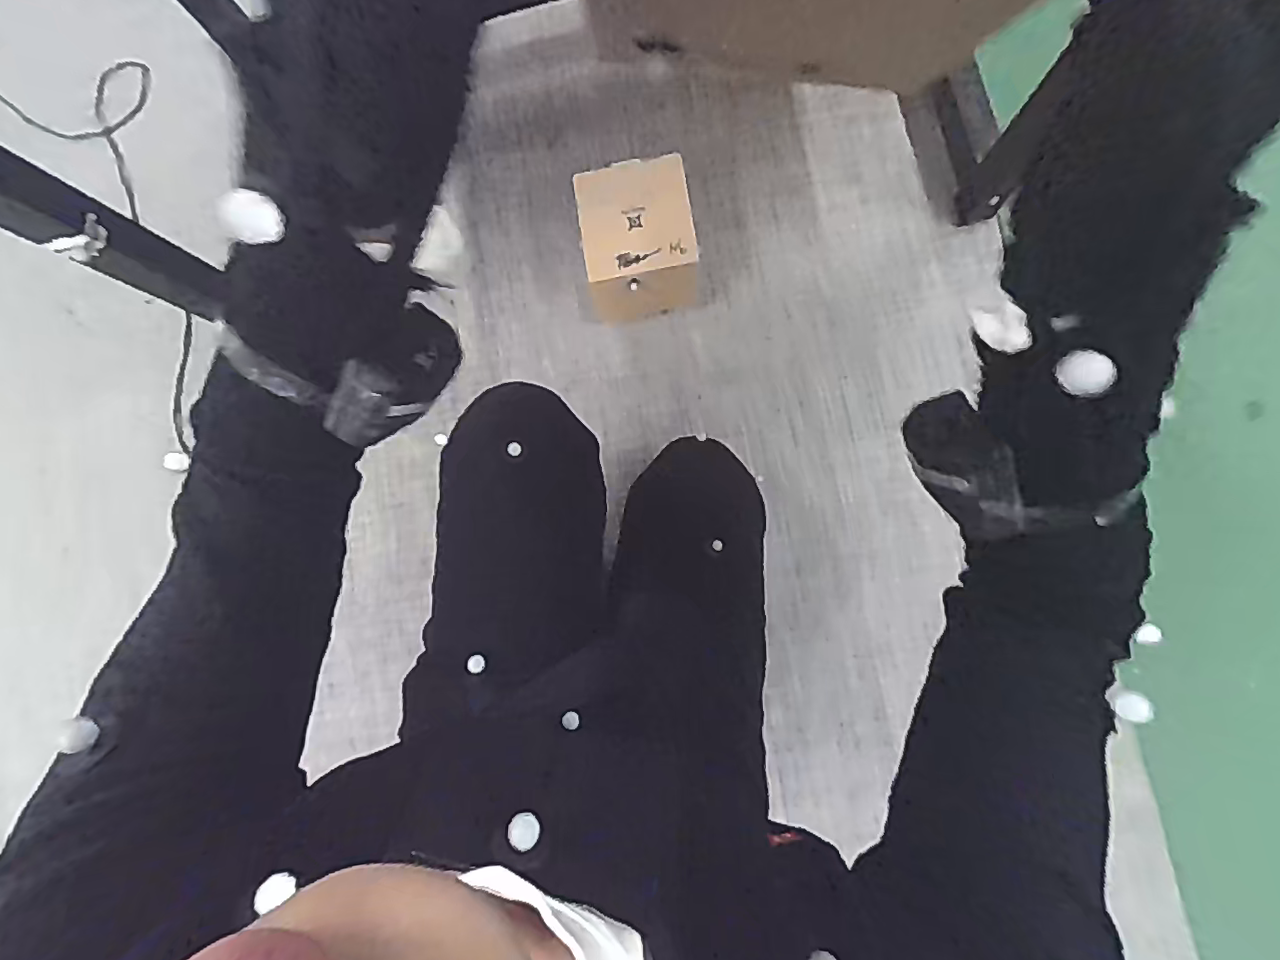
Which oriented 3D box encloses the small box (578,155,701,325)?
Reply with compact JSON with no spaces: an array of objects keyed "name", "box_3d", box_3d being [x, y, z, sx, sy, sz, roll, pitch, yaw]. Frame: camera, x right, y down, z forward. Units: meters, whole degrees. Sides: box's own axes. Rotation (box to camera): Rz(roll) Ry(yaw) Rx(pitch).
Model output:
[{"name":"small box","box_3d":[0.004,-0.376,0.873,0.168,0.176,0.179,-9,81,6]}]
